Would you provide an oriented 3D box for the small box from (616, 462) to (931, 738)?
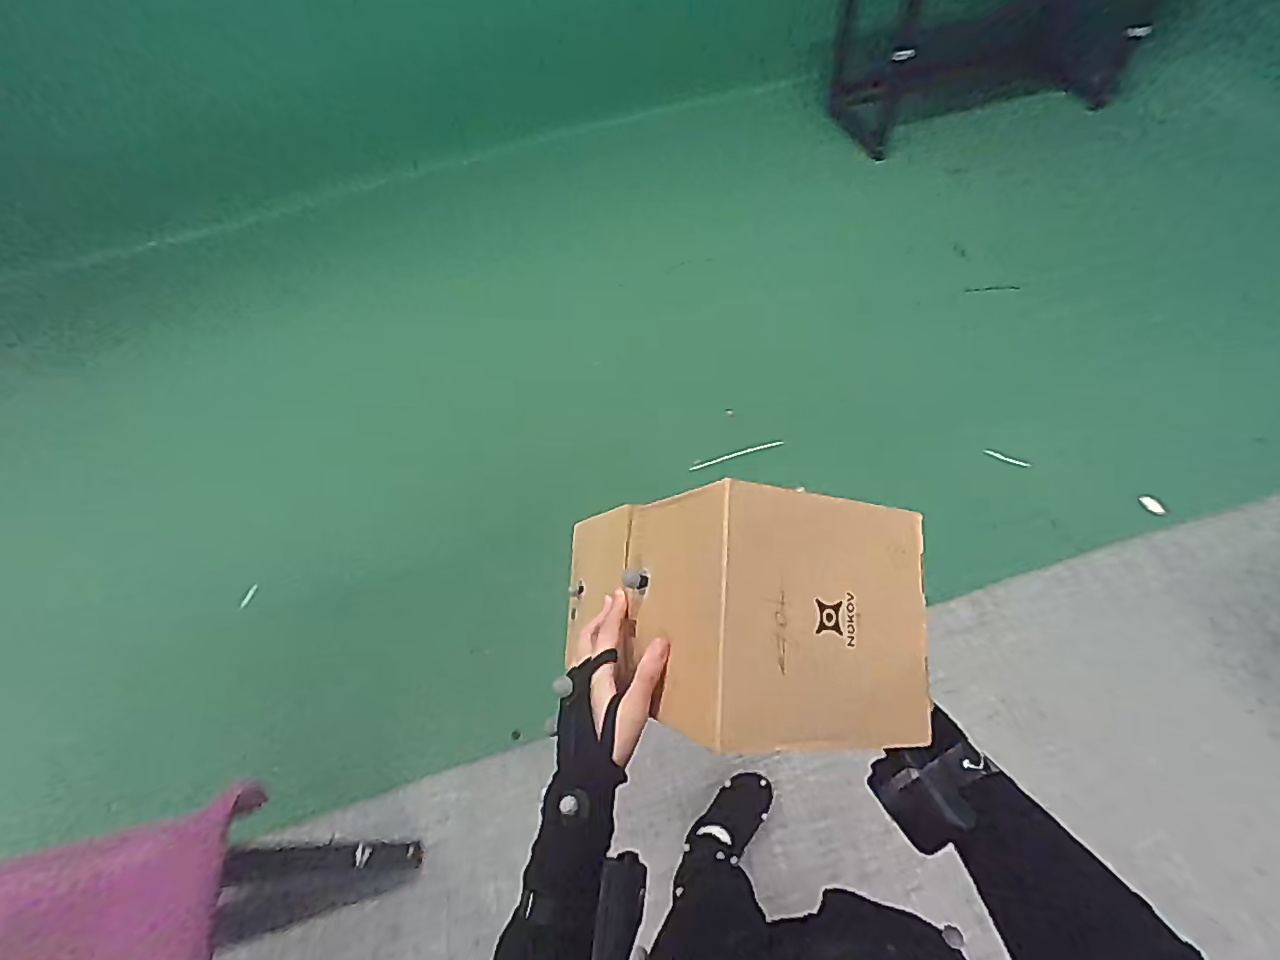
[{"bbox_3d":[0.097,0.096,0.430,0.179,0.176,0.168,11,75,-20],"label":"small box"}]
